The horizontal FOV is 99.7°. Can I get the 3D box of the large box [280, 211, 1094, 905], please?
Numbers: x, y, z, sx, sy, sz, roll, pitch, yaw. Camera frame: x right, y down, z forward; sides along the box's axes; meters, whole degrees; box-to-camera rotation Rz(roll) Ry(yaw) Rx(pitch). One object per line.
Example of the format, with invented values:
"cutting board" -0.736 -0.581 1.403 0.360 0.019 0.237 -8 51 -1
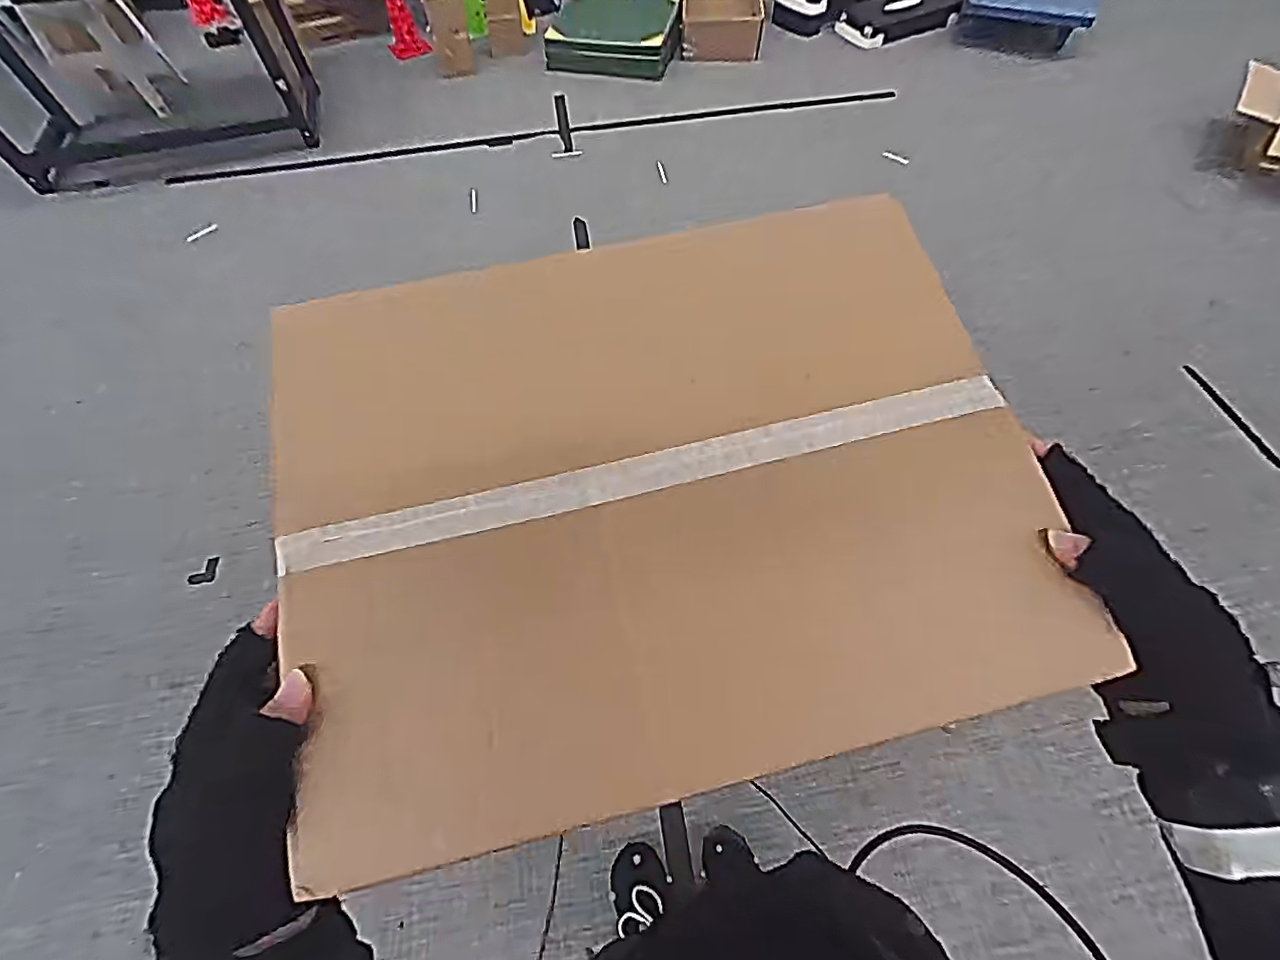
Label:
"large box" 0.008 0.050 0.446 0.408 0.320 0.320 -13 72 -4
